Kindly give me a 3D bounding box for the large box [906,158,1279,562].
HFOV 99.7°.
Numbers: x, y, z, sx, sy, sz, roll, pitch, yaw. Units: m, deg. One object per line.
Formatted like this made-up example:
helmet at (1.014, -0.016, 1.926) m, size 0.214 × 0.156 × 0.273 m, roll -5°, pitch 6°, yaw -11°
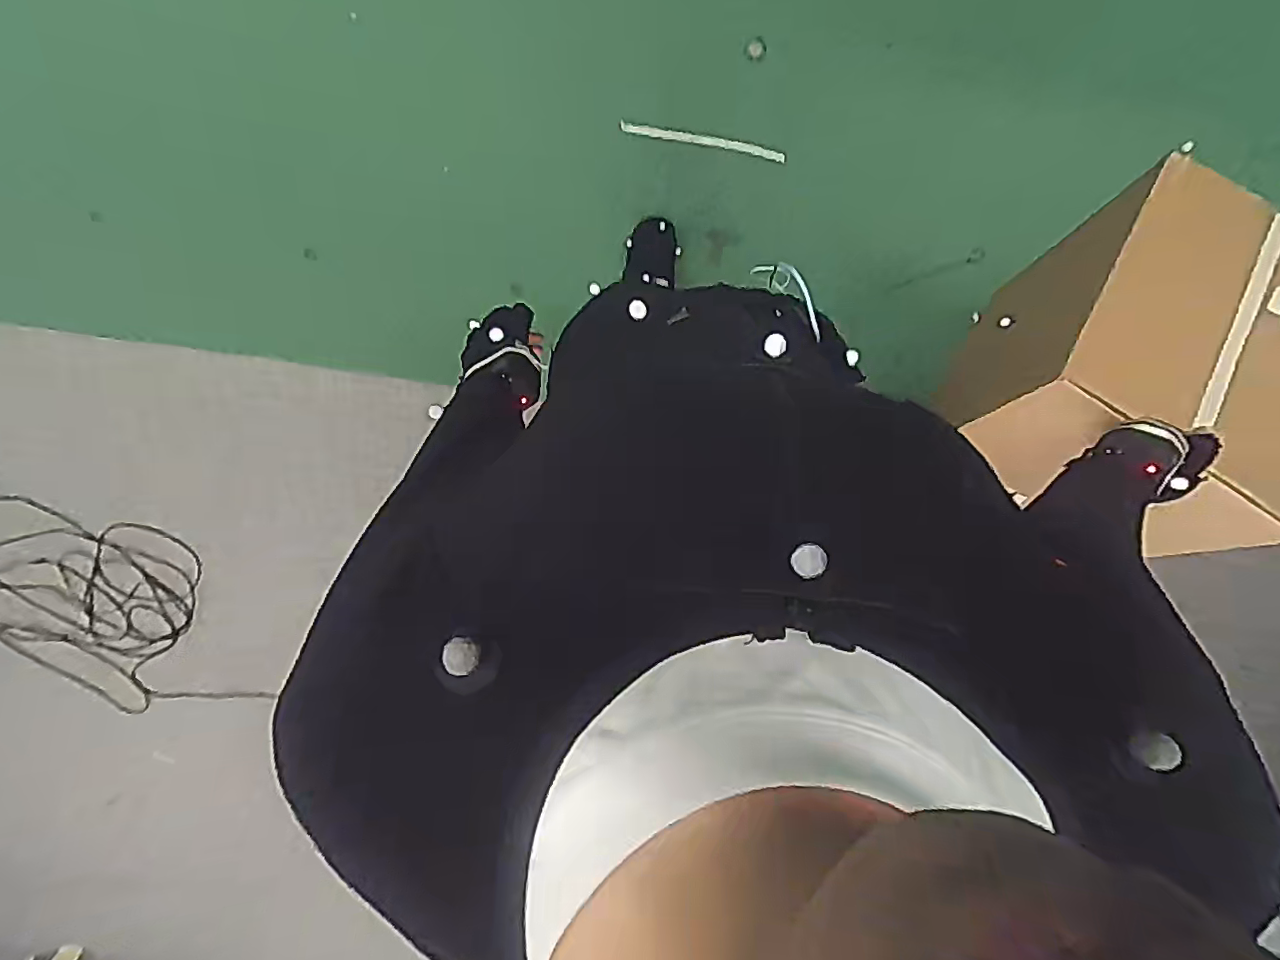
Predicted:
large box at (0.673, -0.143, 0.785) m, size 0.320 × 0.320 × 0.408 m, roll 35°, pitch 74°, yaw 3°
